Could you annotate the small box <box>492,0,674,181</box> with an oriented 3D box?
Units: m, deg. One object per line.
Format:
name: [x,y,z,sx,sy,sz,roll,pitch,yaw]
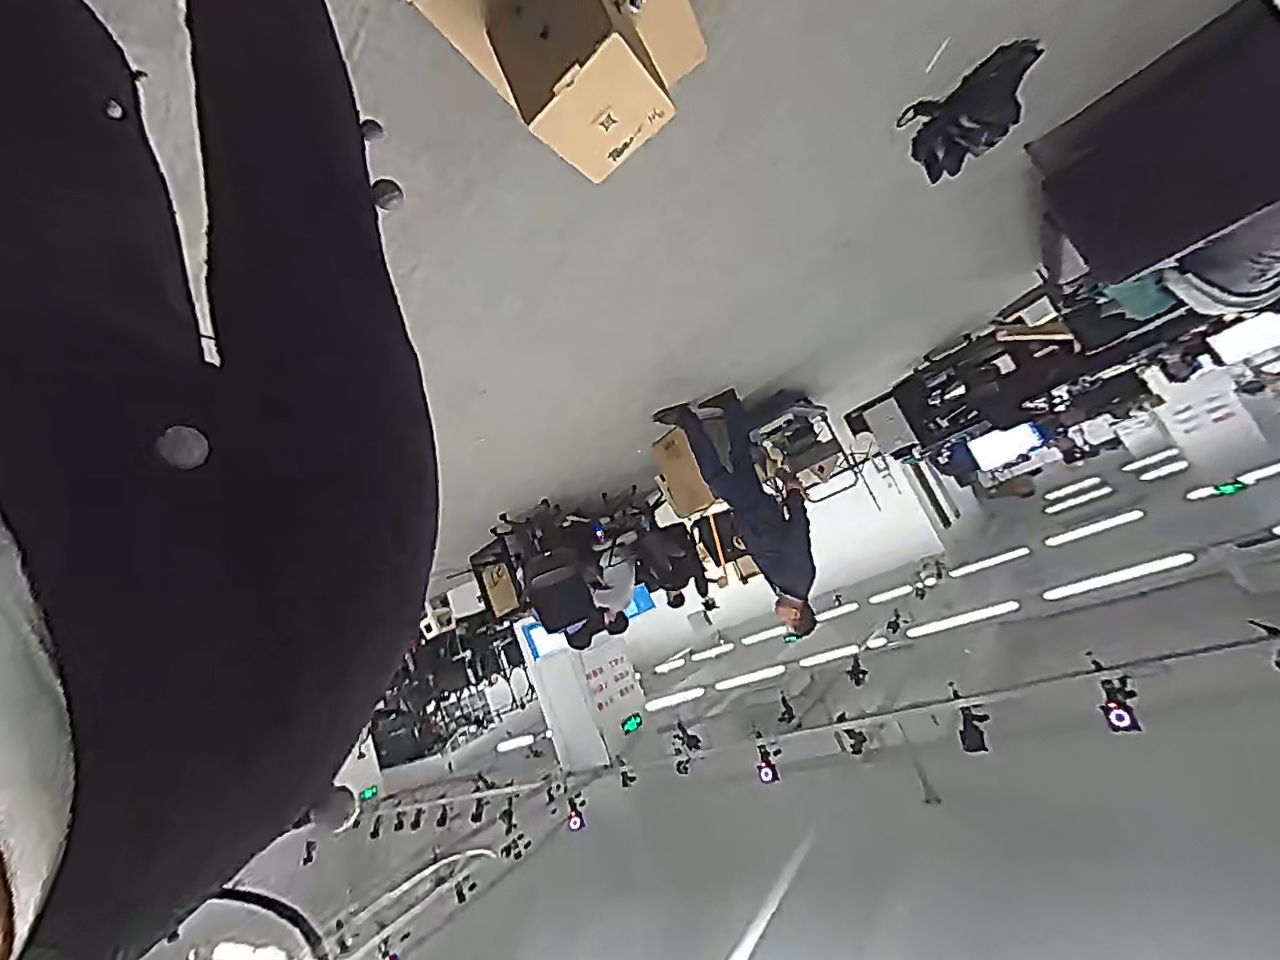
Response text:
small box: [-0.083,-0.589,0.781,0.168,0.176,0.179,-28,167,27]
